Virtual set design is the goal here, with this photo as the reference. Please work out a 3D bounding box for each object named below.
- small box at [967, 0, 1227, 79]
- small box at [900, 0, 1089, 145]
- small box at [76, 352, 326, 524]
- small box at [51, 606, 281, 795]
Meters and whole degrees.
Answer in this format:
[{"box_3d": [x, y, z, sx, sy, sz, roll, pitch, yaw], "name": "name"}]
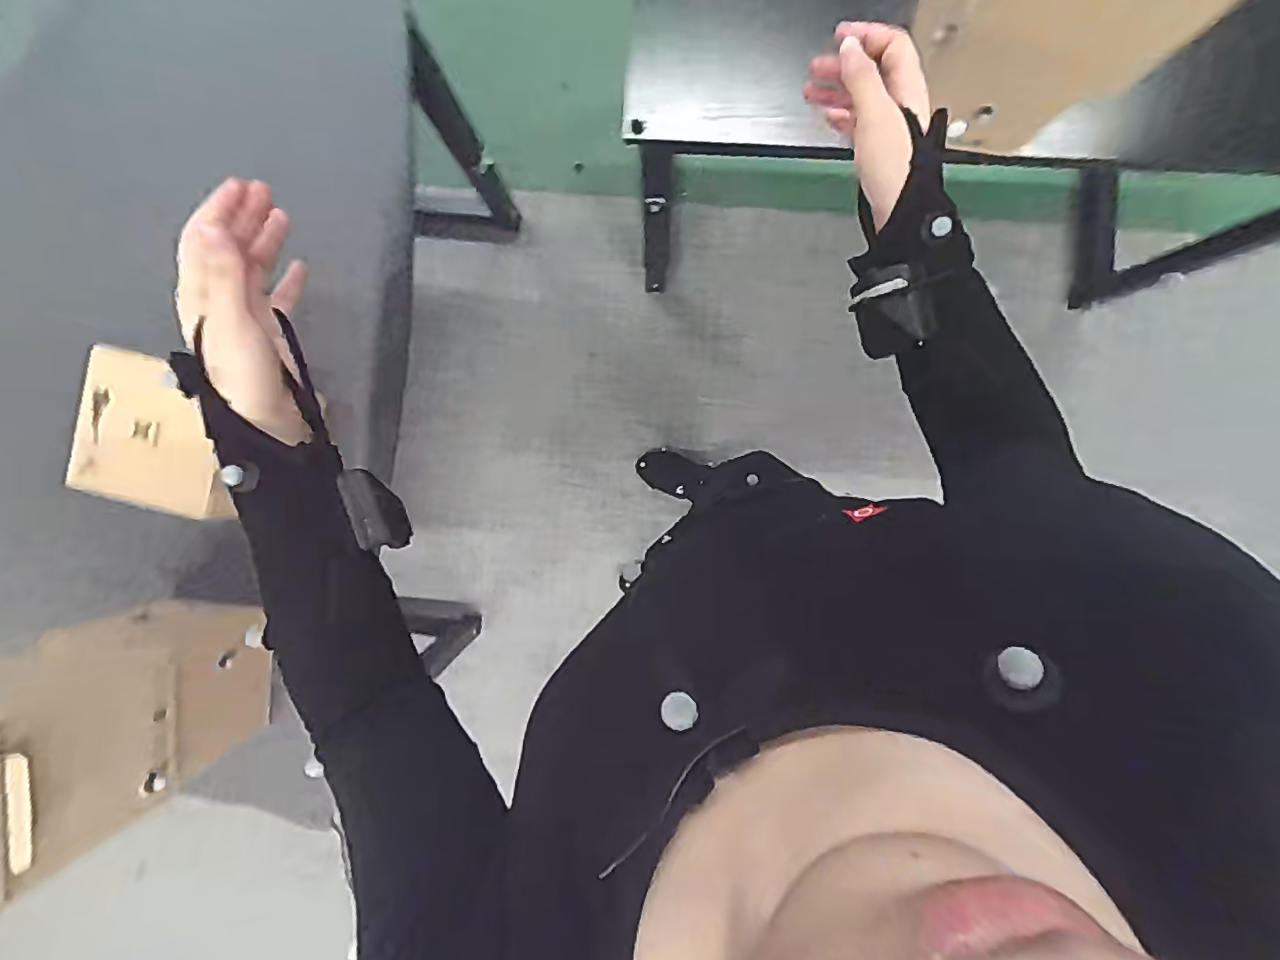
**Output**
[{"box_3d": [0.442, -0.507, 0.483, 0.179, 0.176, 0.168, 15, 93, 1], "name": "small box"}, {"box_3d": [0.435, -0.536, 0.645, 0.168, 0.176, 0.179, 8, 93, 1], "name": "small box"}, {"box_3d": [-0.545, -0.052, 0.696, 0.179, 0.176, 0.168, 14, 93, 2], "name": "small box"}, {"box_3d": [-0.608, 0.274, 0.712, 0.168, 0.176, 0.179, 3, 93, 4], "name": "small box"}]
